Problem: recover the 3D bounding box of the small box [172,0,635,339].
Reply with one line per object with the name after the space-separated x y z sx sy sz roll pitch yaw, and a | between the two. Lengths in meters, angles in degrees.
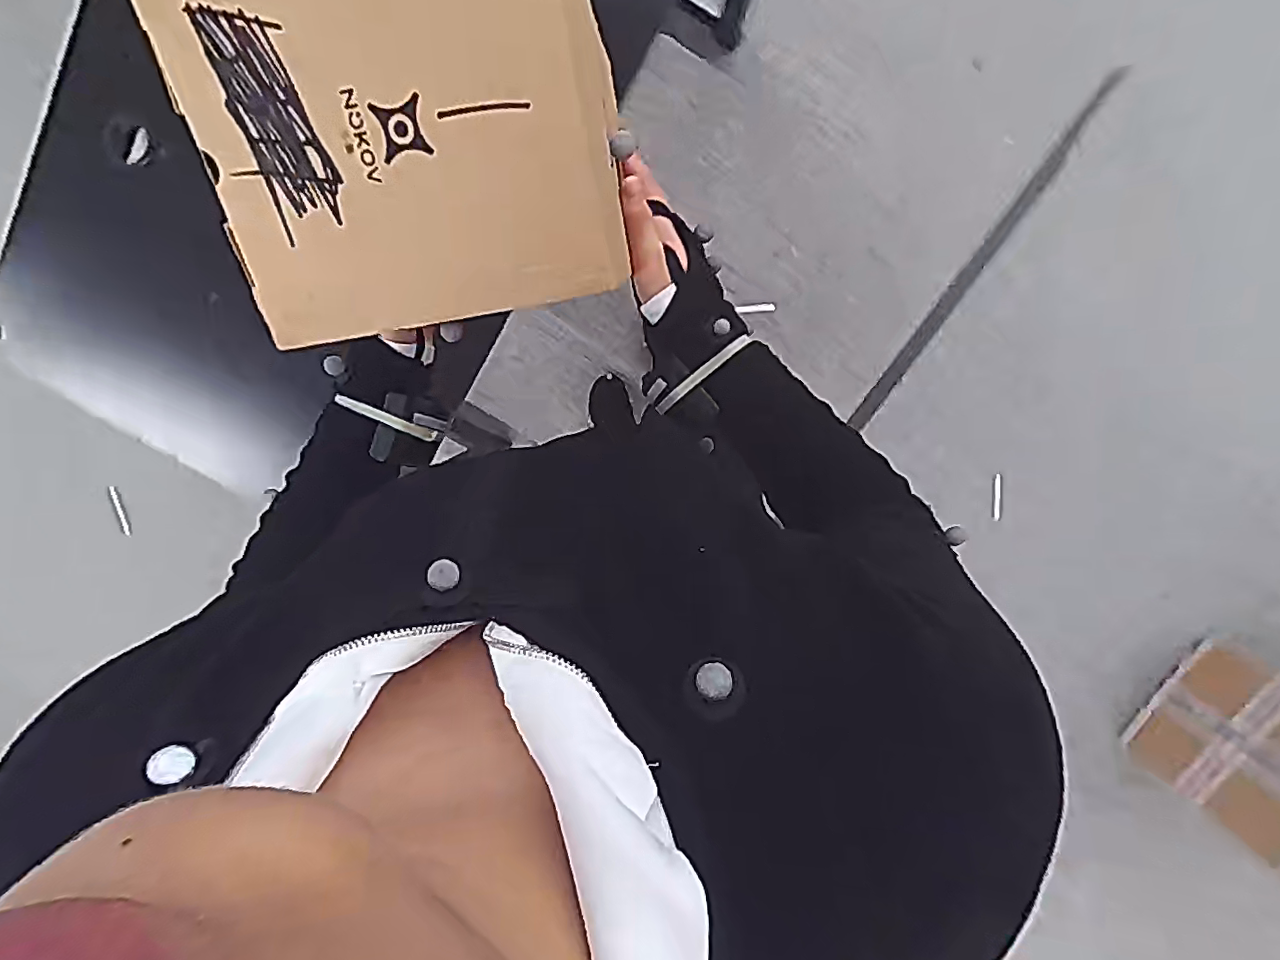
-0.102 -0.185 0.319 0.179 0.176 0.168 -6 113 5 | small box
